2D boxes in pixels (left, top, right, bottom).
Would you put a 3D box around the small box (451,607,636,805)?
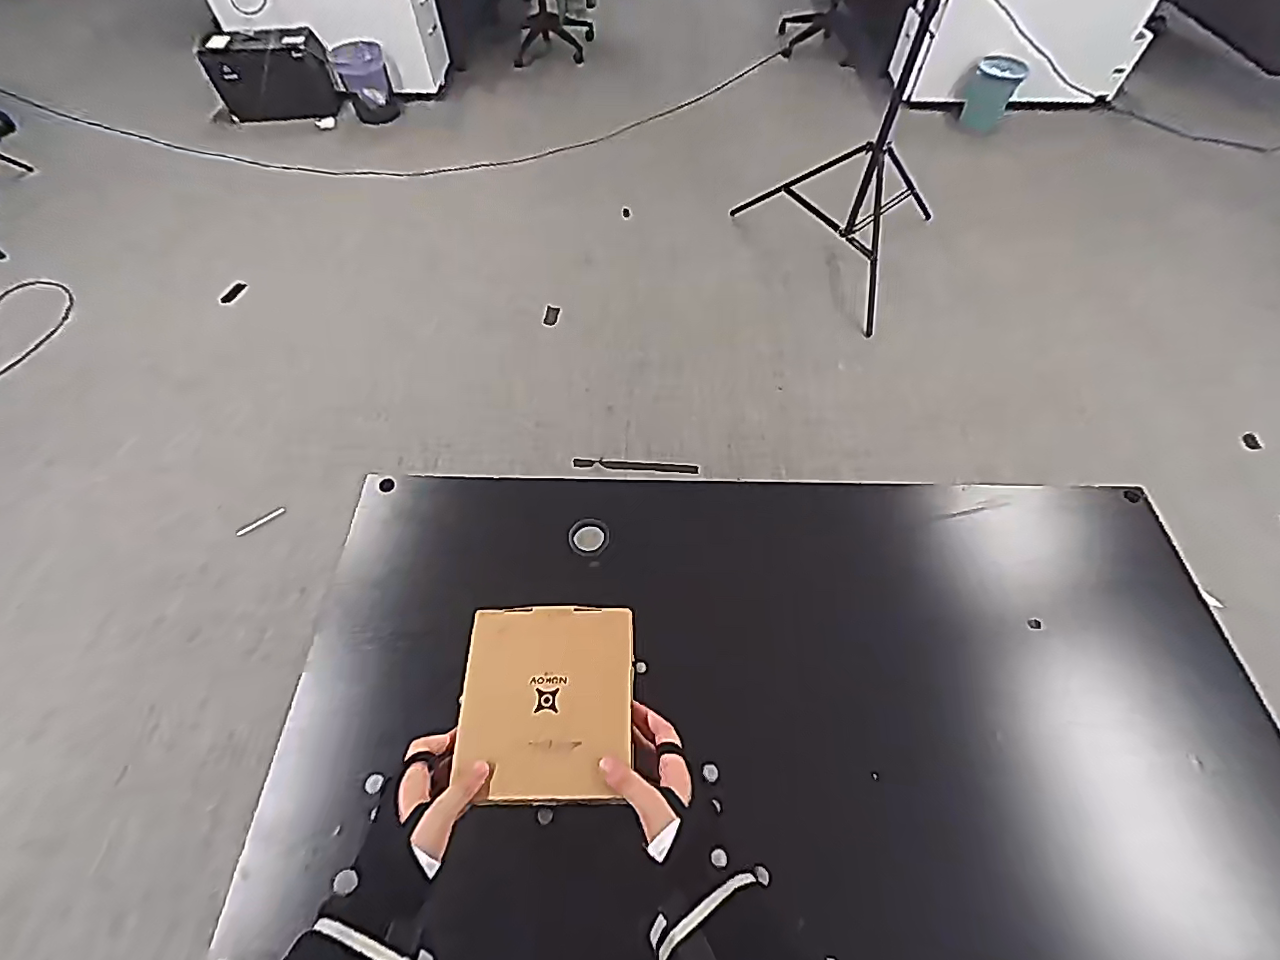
[{"bbox_3d":[-0.090,0.252,0.594,0.168,0.176,0.179,-2,58,0],"label":"small box"}]
